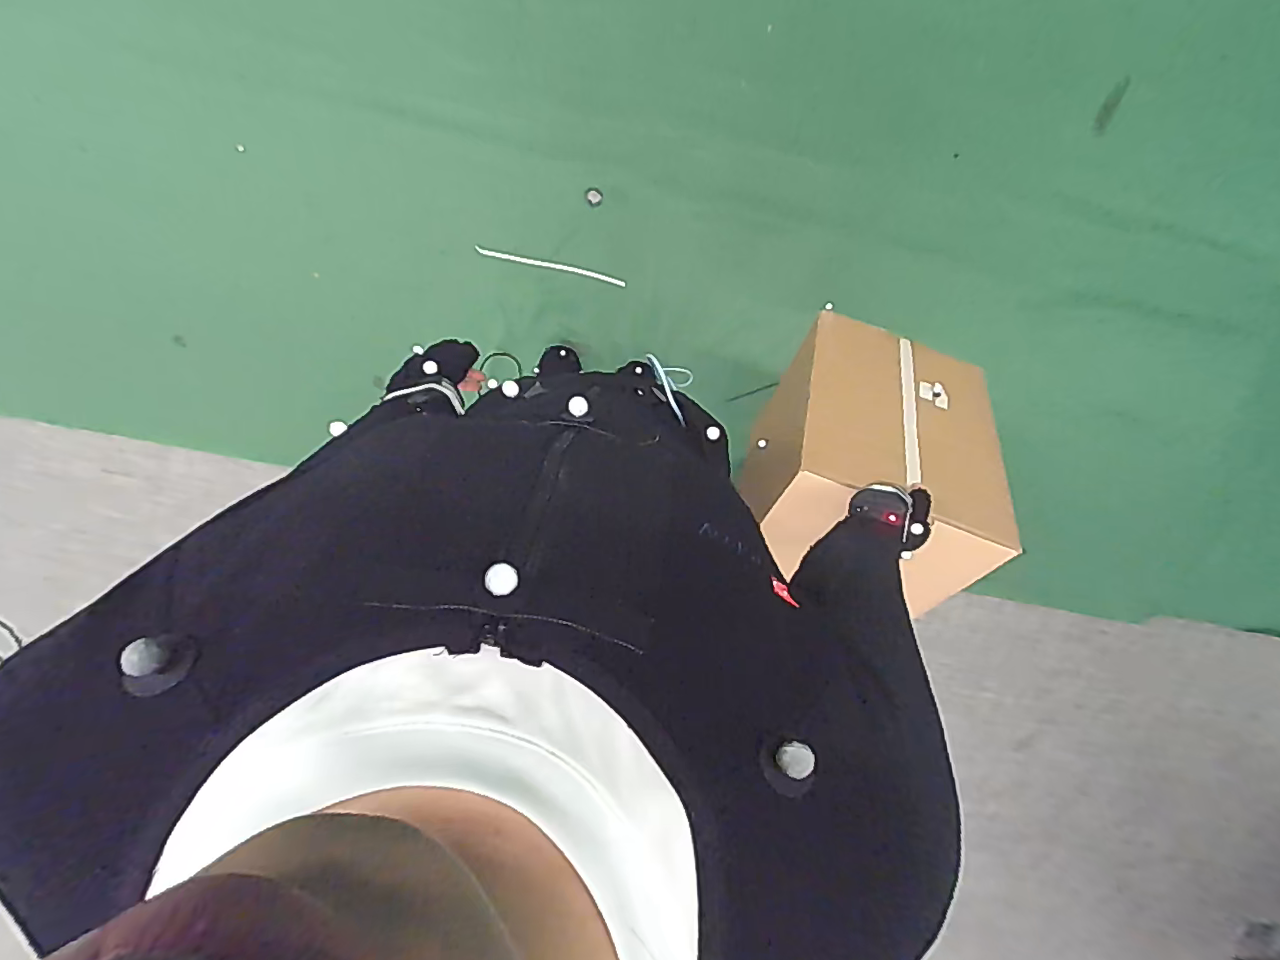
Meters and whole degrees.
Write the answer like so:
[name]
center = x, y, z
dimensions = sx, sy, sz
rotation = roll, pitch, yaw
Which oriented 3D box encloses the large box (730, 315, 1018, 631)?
[large box]
center = 0.378, -0.012, 0.955
dimensions = 0.320, 0.408, 0.320
rotation = 22, 140, -1
